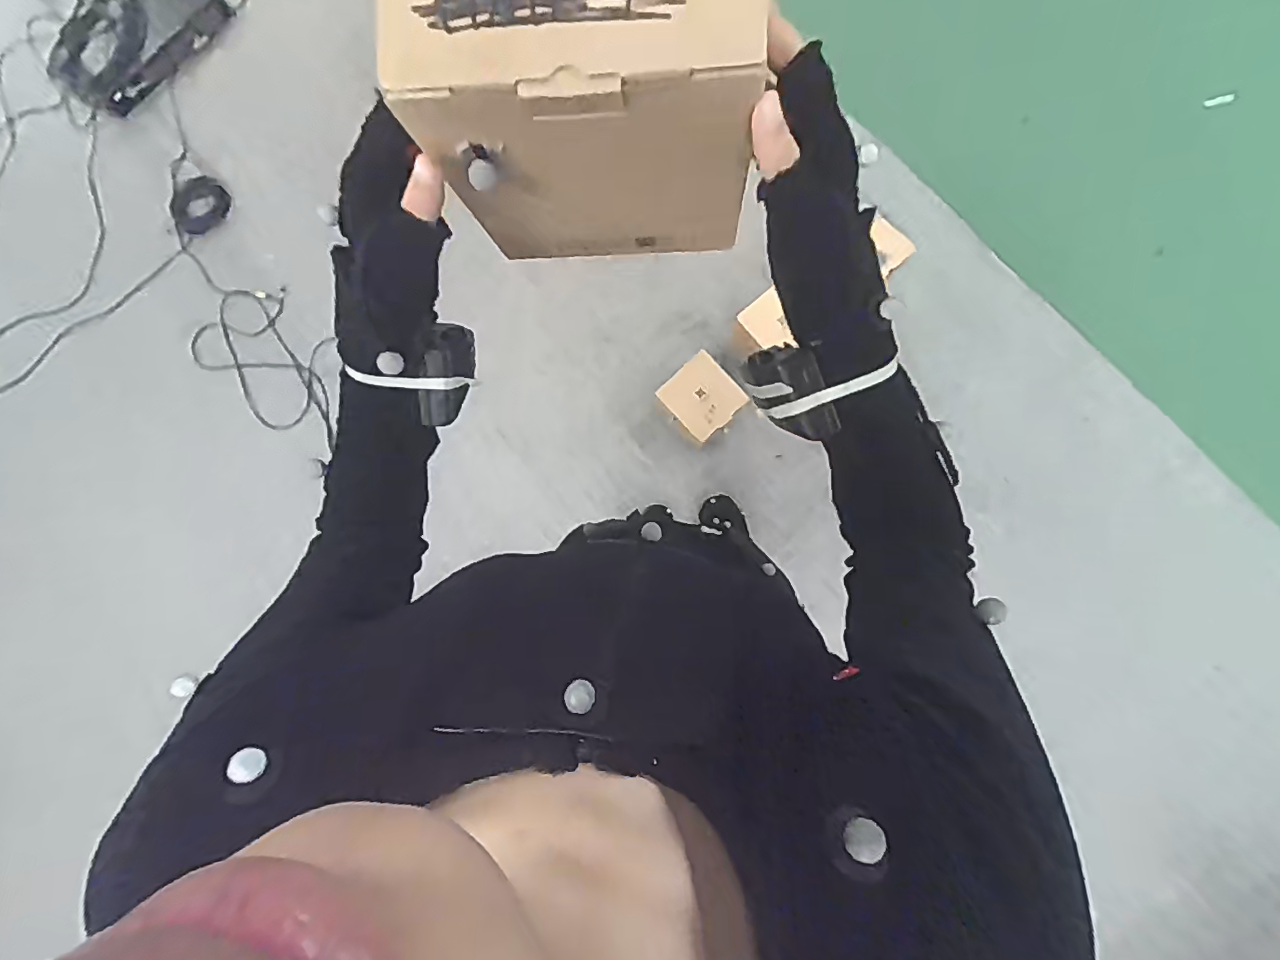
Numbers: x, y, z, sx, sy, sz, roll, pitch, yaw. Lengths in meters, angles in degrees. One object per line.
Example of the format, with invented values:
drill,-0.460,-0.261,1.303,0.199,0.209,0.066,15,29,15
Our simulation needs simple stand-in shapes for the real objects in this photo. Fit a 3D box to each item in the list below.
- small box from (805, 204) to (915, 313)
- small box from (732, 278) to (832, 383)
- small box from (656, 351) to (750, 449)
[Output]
small box,0.557,-0.557,1.396,0.168,0.176,0.179,-44,84,1
small box,0.357,-0.377,1.401,0.168,0.176,0.179,-41,85,1
small box,0.158,-0.197,1.401,0.168,0.176,0.179,-43,85,2
